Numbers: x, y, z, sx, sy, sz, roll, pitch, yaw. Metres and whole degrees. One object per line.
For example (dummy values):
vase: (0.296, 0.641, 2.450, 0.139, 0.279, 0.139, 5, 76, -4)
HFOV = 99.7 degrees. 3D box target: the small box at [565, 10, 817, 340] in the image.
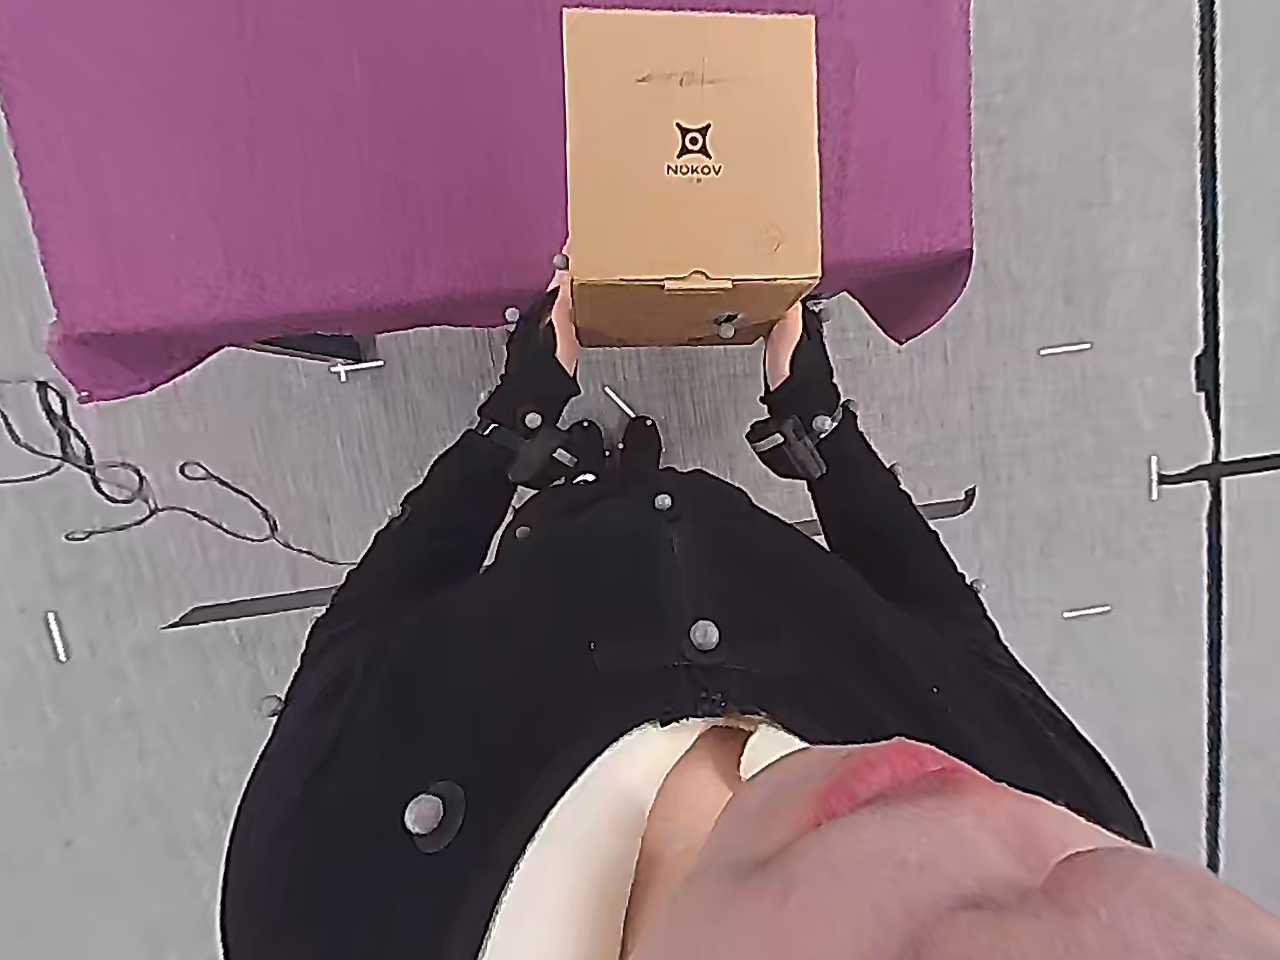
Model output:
small box: (0.029, -0.215, 0.430, 0.168, 0.176, 0.179, -1, 89, -4)
